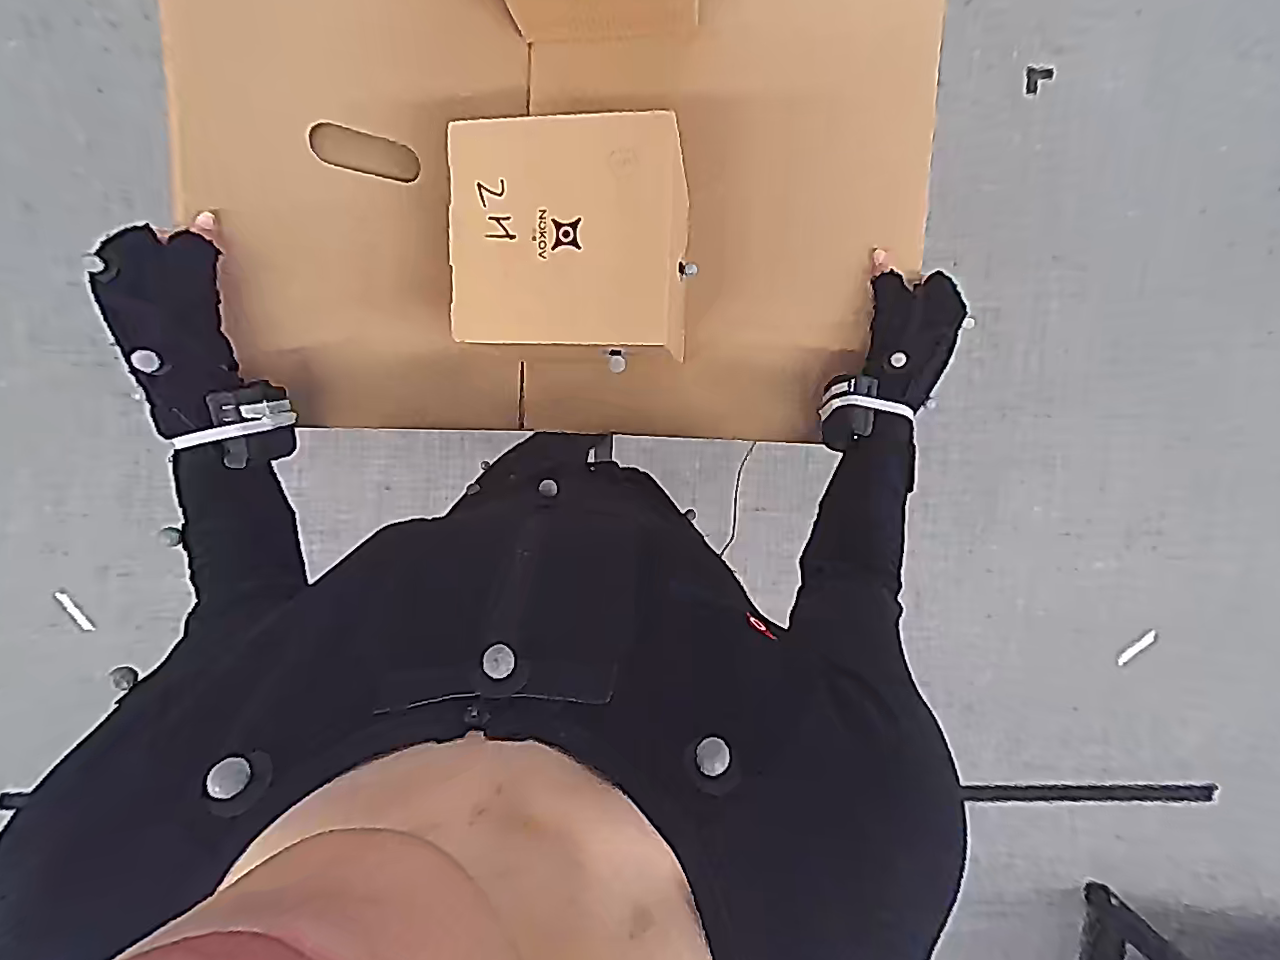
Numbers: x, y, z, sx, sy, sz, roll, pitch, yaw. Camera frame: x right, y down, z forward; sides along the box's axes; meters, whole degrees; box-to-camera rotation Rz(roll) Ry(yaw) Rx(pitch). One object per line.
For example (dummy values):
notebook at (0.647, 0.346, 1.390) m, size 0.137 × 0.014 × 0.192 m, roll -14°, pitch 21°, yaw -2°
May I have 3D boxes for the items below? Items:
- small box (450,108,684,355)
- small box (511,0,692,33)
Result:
small box at (-0.053, -0.208, 0.497) m, size 0.179 × 0.176 × 0.168 m, roll 3°, pitch 97°, yaw 9°
small box at (-0.044, -0.522, 0.458) m, size 0.179 × 0.176 × 0.168 m, roll 3°, pitch 97°, yaw 8°
